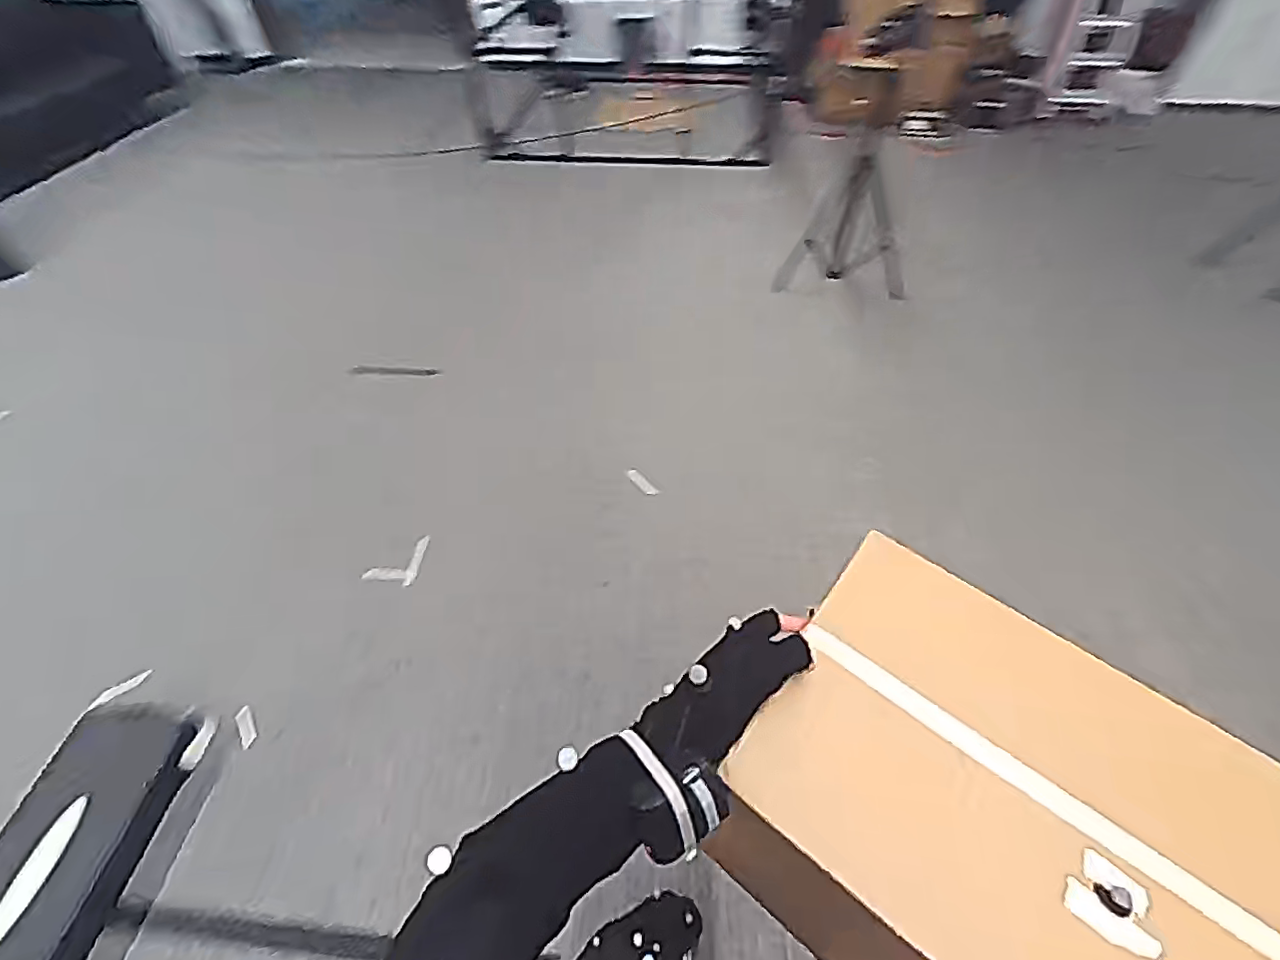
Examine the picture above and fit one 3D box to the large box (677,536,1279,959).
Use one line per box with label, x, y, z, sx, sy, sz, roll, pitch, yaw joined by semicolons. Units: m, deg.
large box;0.296;0.338;0.567;0.408;0.320;0.320;32;57;21
